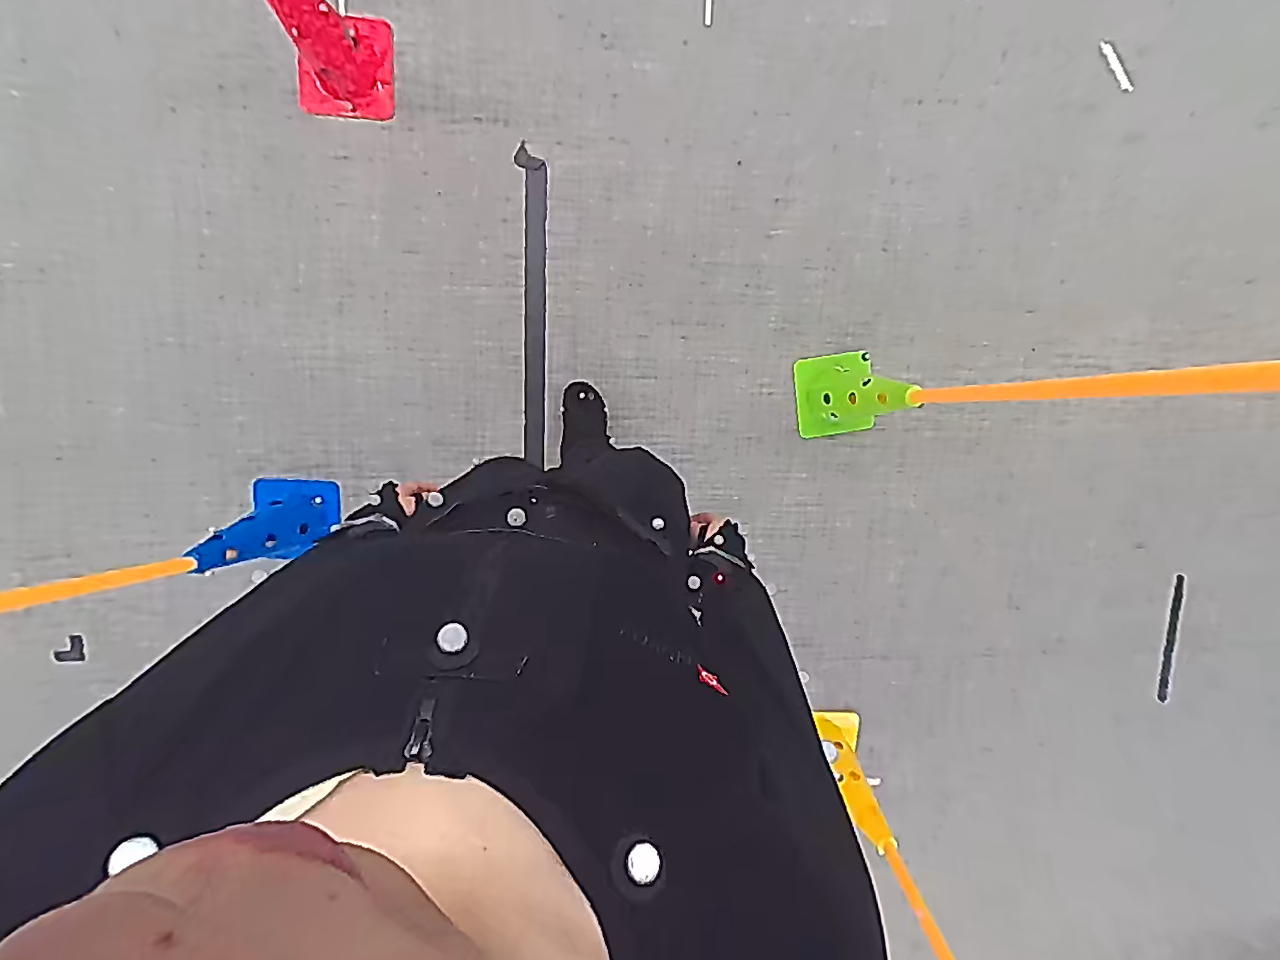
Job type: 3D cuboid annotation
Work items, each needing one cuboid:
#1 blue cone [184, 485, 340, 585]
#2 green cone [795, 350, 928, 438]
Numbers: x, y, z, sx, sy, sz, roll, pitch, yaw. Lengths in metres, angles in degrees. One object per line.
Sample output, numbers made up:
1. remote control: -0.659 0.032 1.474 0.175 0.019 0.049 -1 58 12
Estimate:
1. blue cone: -0.819 0.134 1.154 0.193 0.380 0.192 4 99 -5
2. green cone: 0.508 -0.186 1.197 0.200 0.368 0.202 -10 101 -3
